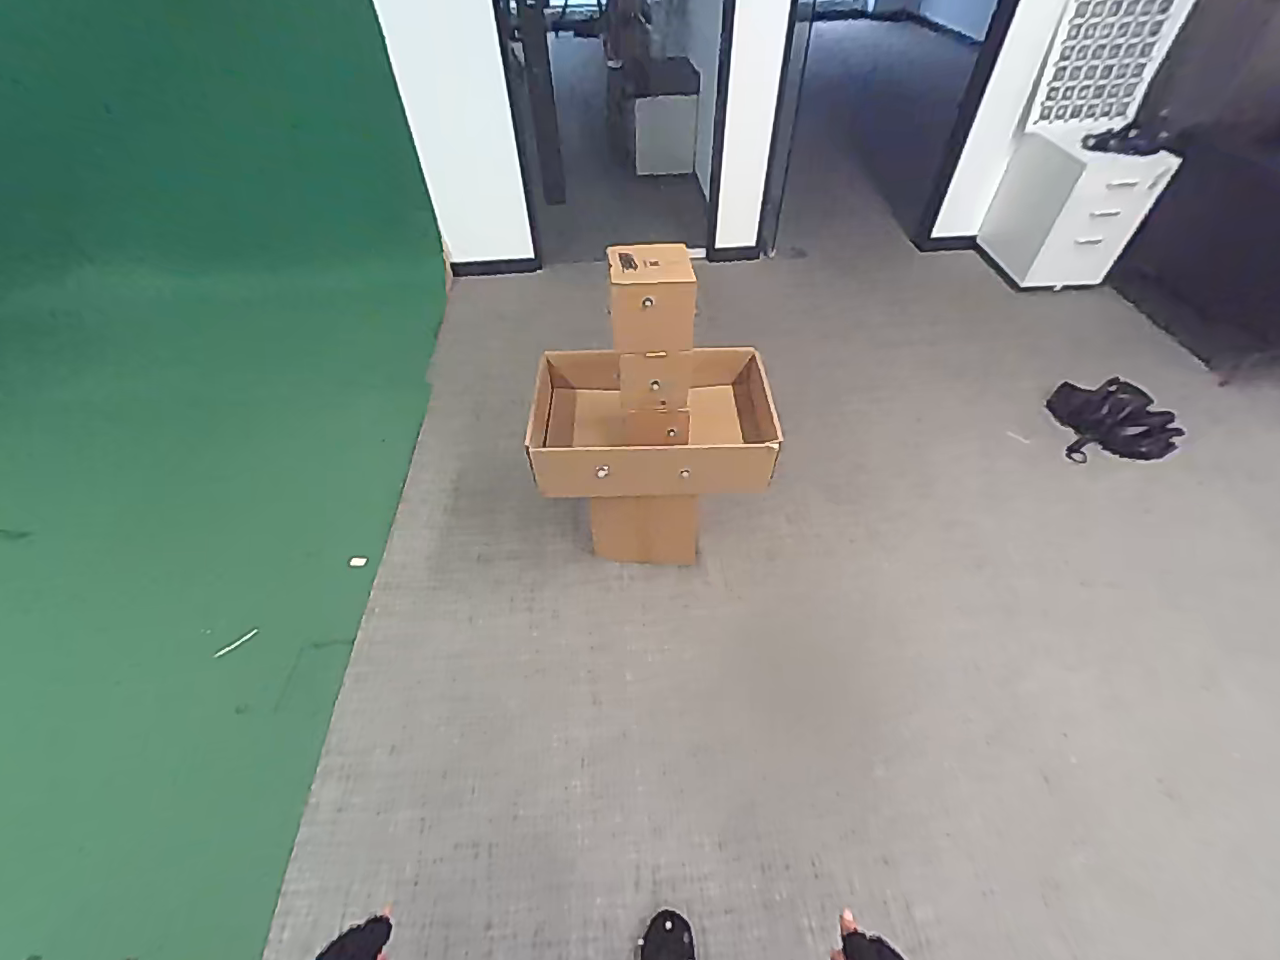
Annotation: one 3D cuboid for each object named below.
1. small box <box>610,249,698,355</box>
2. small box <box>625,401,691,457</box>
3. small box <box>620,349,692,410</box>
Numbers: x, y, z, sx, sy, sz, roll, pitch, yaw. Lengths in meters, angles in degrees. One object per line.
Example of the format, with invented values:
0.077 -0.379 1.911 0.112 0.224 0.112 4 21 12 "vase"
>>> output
0.027 -0.392 1.200 0.179 0.176 0.168 -3 48 -4 "small box"
0.043 -0.173 1.445 0.168 0.176 0.179 -2 46 -2 "small box"
0.035 -0.284 1.325 0.168 0.176 0.179 -2 49 -2 "small box"
